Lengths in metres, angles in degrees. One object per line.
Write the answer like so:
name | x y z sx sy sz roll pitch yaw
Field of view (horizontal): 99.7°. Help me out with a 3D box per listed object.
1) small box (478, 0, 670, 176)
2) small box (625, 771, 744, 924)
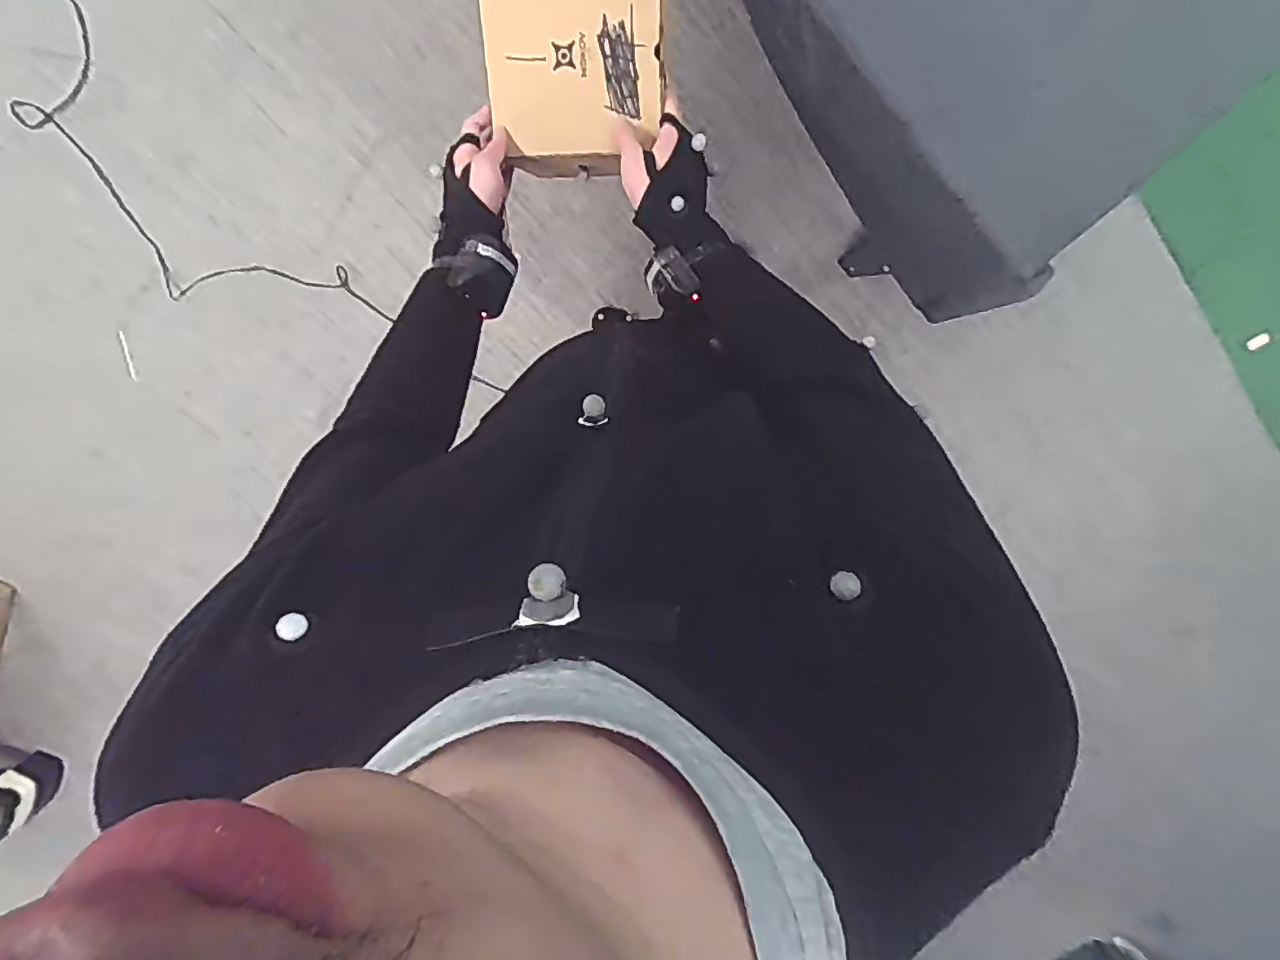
small box | -0.057 -0.431 0.578 0.179 0.176 0.168 1 112 5
small box | 0.089 0.756 1.123 0.179 0.176 0.168 -39 104 13
